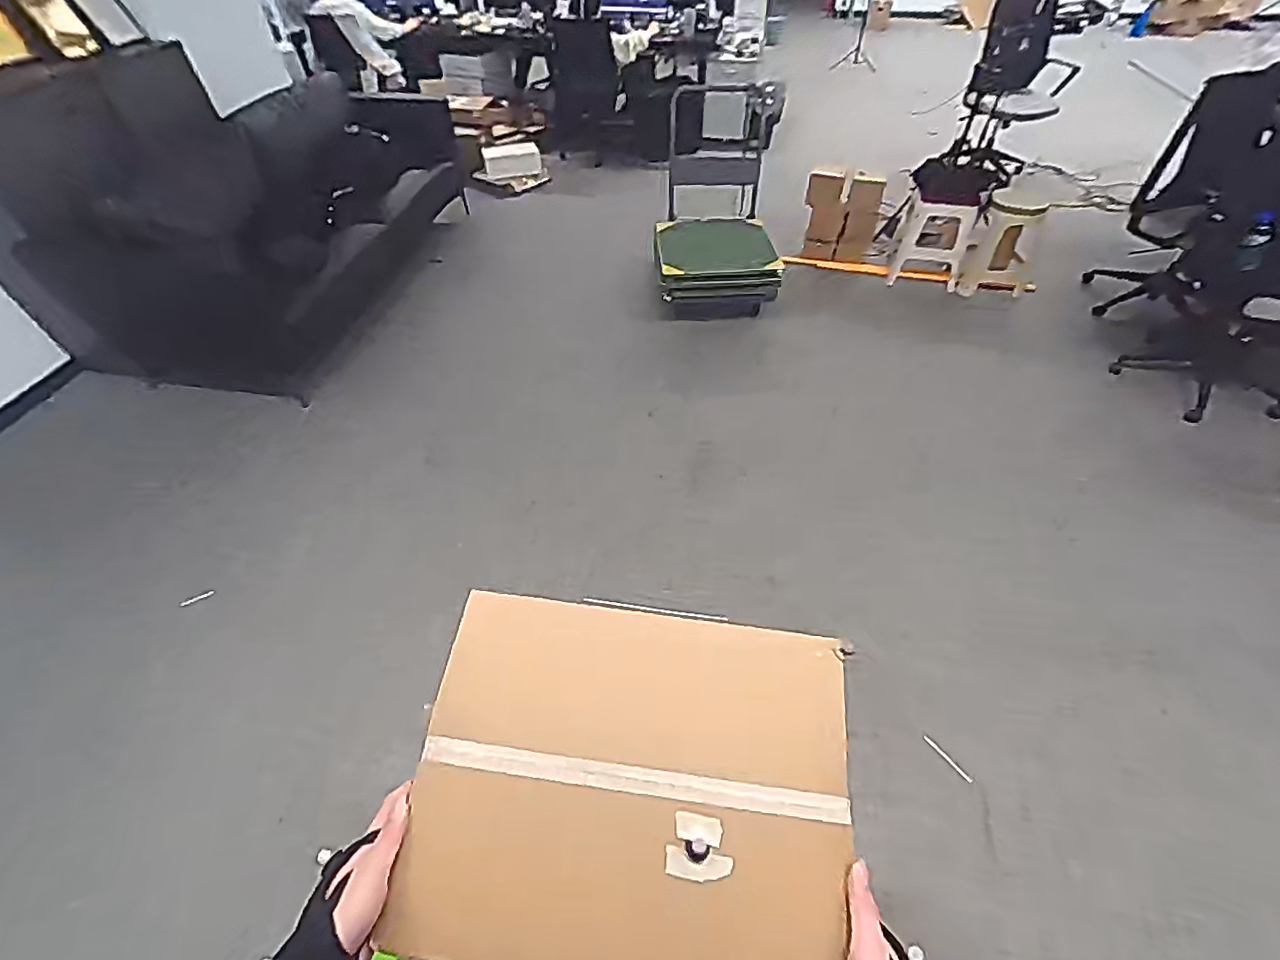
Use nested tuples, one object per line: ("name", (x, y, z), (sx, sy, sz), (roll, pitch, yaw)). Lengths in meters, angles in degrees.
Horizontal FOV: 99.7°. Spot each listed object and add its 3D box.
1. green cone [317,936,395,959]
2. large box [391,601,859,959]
("green cone", (-0.652, 1.029, 1.039), (0.200, 0.368, 0.202), (11, 51, 12))
("large box", (-0.002, 0.358, 0.648), (0.408, 0.320, 0.320), (6, 62, 3))
